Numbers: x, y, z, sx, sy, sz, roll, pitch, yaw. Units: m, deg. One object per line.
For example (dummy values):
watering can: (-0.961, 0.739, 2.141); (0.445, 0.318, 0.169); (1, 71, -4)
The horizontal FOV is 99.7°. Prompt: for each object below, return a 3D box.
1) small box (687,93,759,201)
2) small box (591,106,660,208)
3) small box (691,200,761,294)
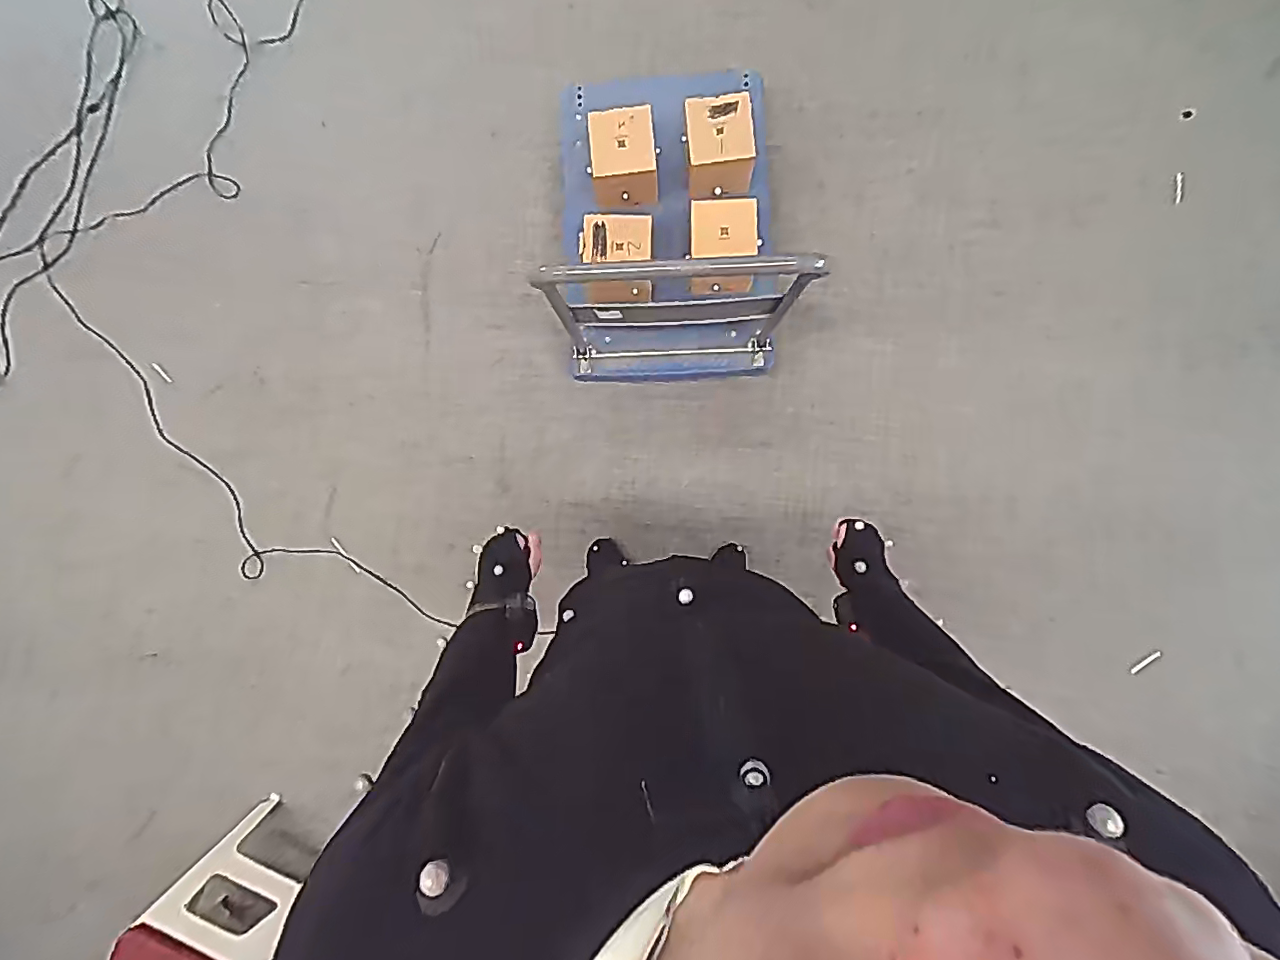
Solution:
small box: (0.215, -0.880, 1.440); (0.168, 0.176, 0.179); (-5, 88, 4)
small box: (-0.035, -0.855, 1.454); (0.168, 0.176, 0.179); (-5, 87, 2)
small box: (0.222, -0.610, 1.427); (0.168, 0.176, 0.179); (-1, 87, 3)
